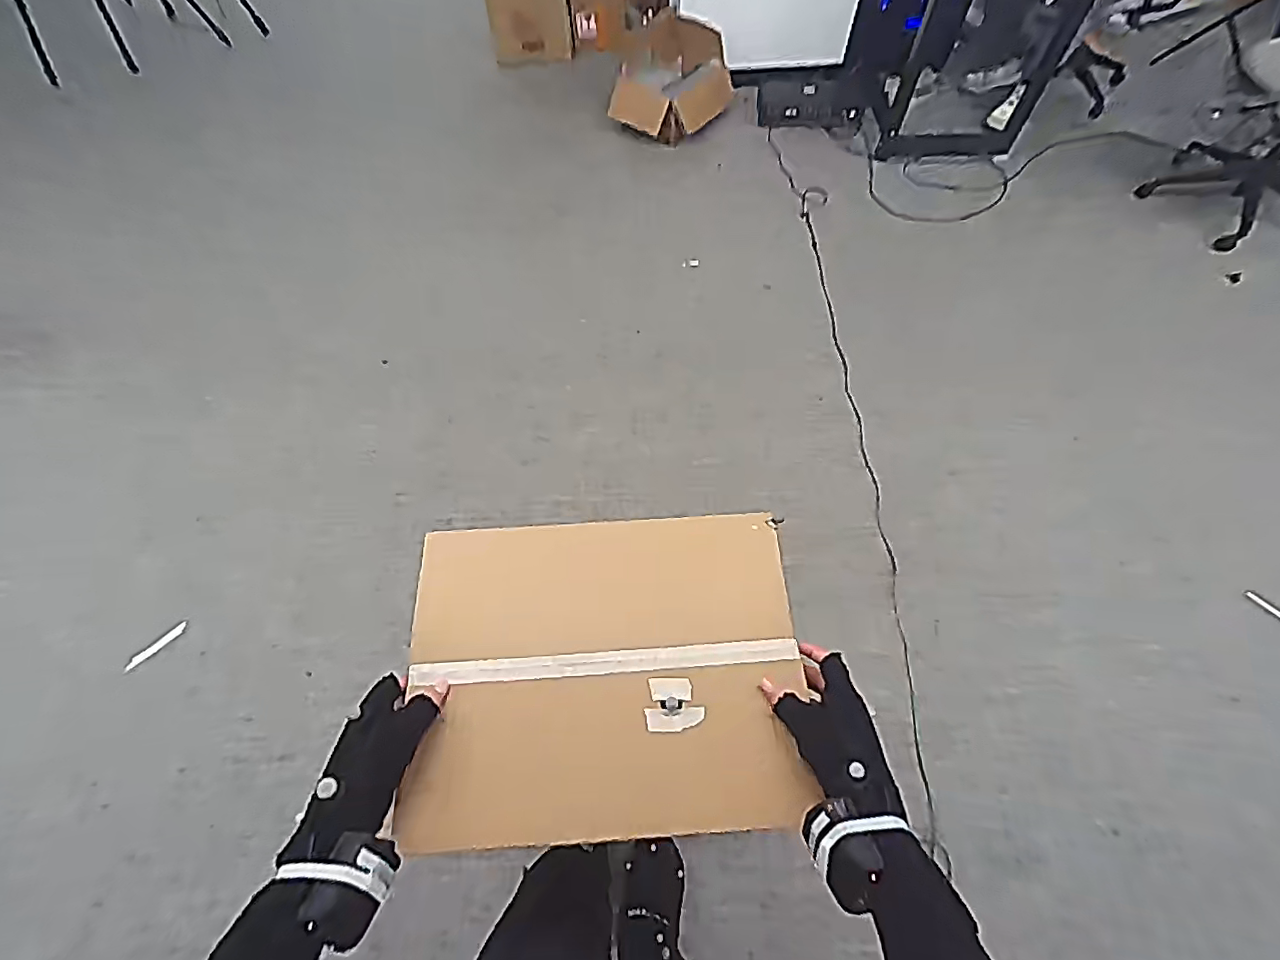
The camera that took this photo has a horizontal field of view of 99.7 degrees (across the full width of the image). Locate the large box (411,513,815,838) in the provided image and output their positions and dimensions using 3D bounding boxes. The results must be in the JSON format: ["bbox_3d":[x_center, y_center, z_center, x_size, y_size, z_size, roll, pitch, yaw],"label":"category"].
[{"bbox_3d":[-0.037,0.256,0.721,0.408,0.320,0.320,-3,65,-2],"label":"large box"}]
